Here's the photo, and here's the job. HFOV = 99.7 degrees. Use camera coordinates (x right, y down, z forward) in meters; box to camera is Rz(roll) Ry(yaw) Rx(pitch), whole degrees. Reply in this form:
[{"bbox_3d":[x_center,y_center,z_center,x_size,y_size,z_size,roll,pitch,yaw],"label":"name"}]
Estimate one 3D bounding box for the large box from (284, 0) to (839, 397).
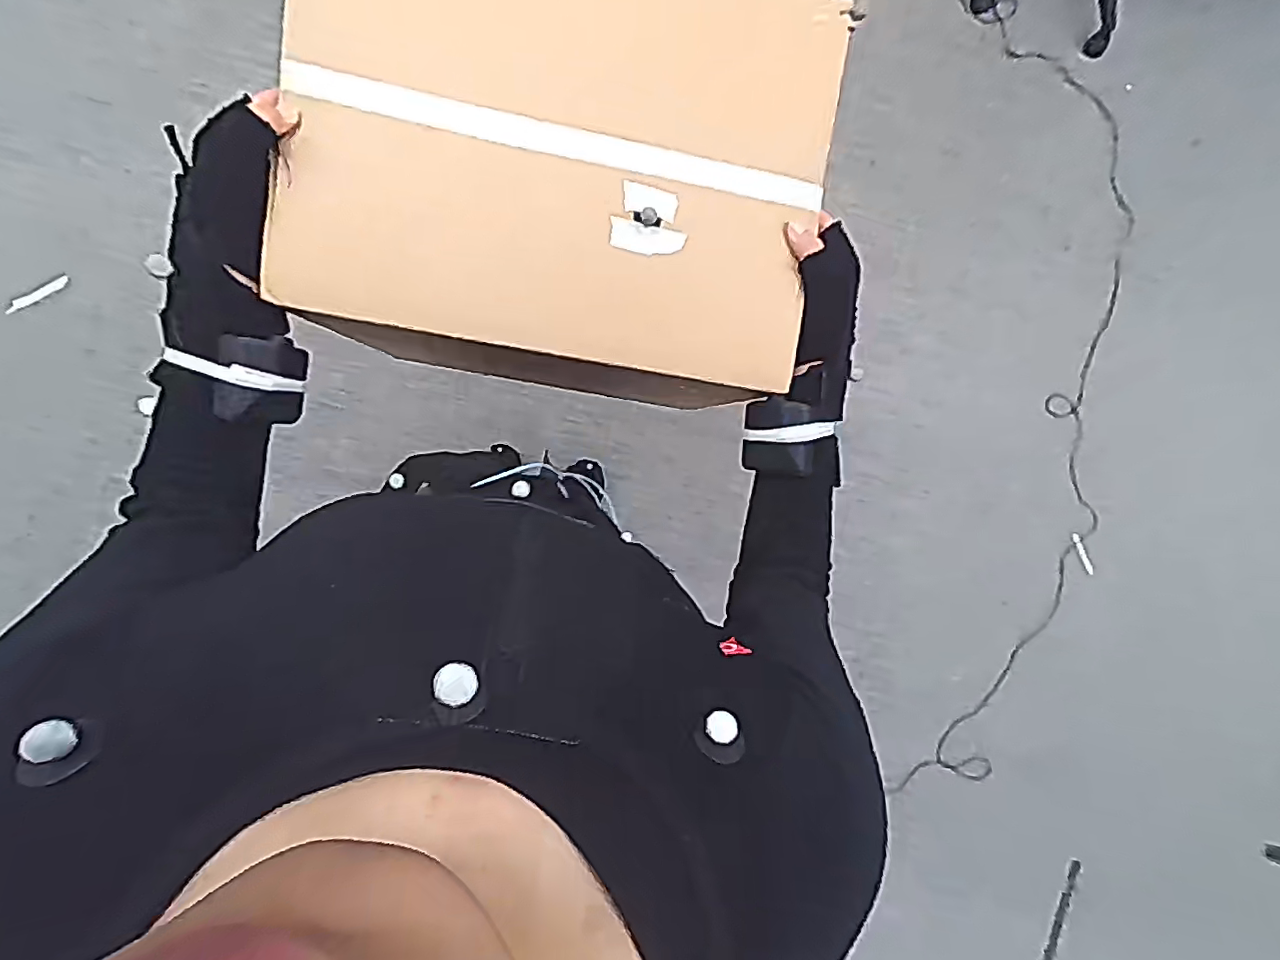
[{"bbox_3d":[-0.075,-0.274,0.566,0.408,0.320,0.320,8,95,-10],"label":"large box"}]
